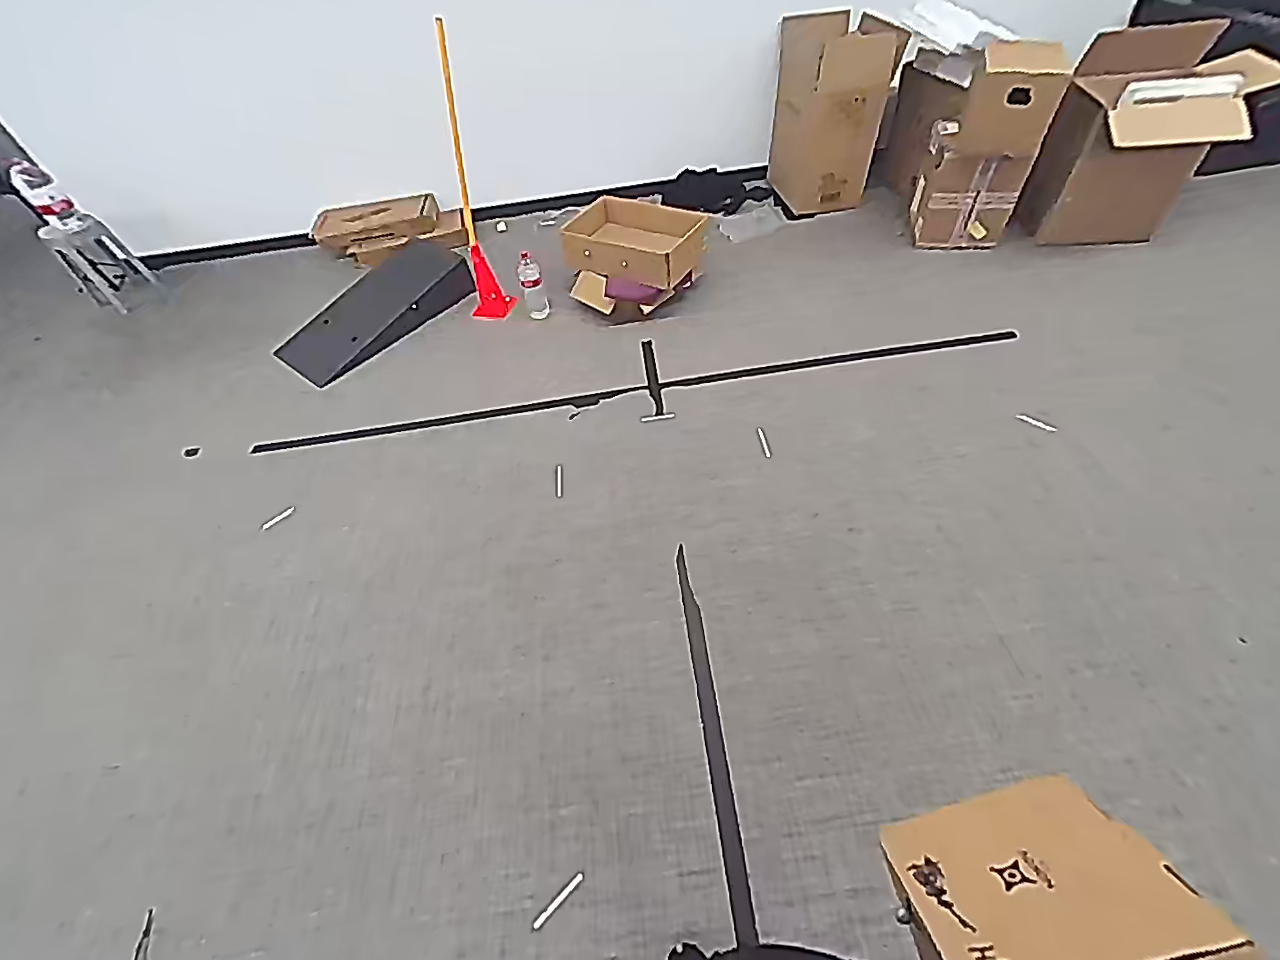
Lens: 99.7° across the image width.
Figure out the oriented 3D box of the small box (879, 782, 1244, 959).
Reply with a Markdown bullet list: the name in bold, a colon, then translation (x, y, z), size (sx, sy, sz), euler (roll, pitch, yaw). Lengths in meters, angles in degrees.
- **small box**: translation (0.328, 0.390, 0.431), size (0.179, 0.168, 0.176), euler (-20, 92, 4)
